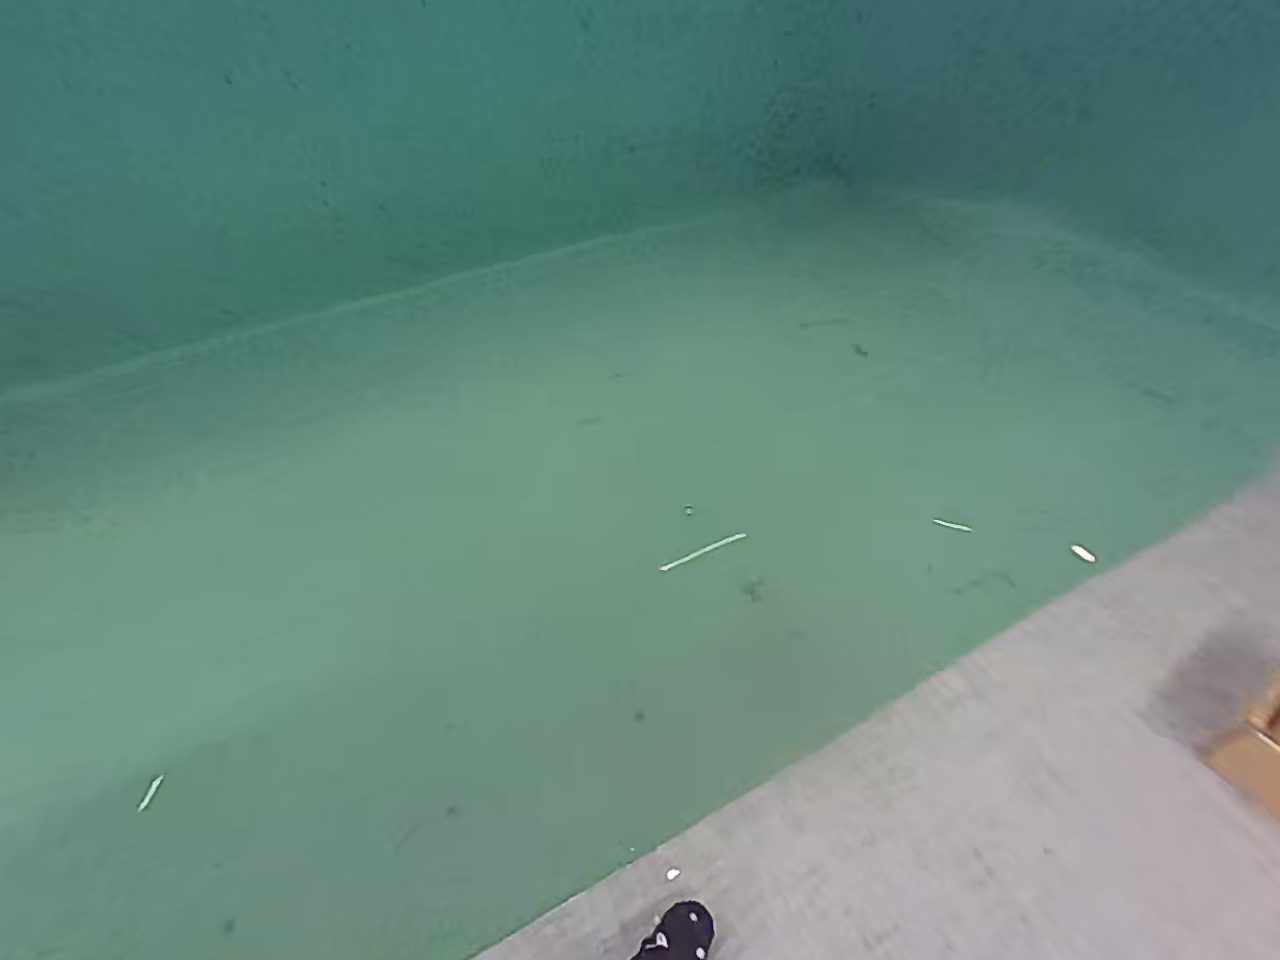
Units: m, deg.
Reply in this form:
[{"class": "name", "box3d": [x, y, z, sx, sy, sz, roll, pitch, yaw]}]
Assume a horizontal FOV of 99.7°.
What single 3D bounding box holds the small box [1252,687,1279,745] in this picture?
[{"class": "small box", "box3d": [1.548, 0.538, 1.194, 0.168, 0.176, 0.179, -29, 52, -22]}]
